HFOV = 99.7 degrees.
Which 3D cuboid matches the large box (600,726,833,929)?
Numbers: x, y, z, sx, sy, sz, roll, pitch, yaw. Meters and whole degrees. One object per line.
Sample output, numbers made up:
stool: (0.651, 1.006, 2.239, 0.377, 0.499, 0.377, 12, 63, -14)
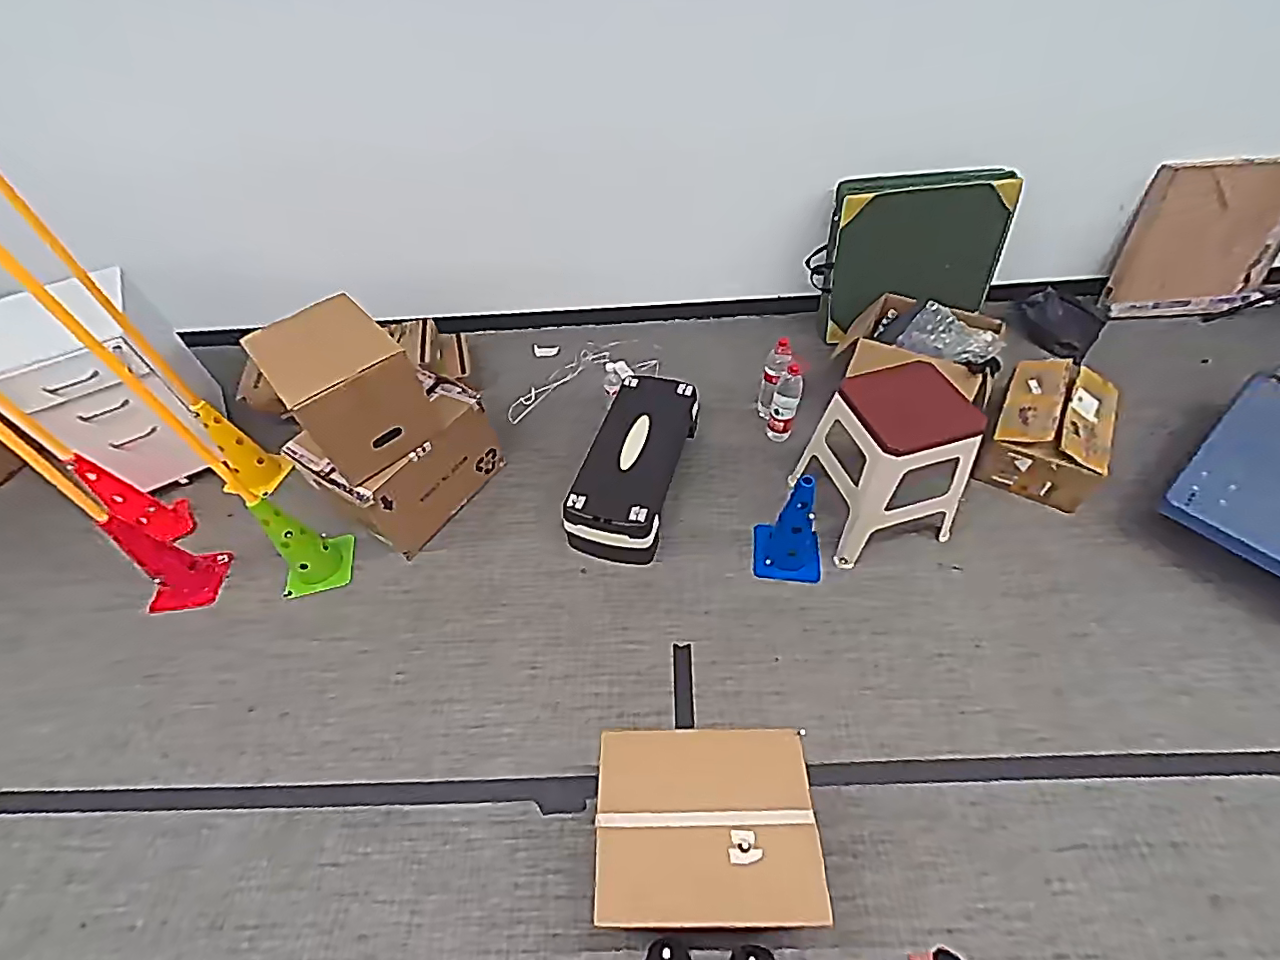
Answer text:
large box: (0.131, 0.723, 1.120, 0.408, 0.320, 0.320, -2, 51, 1)
